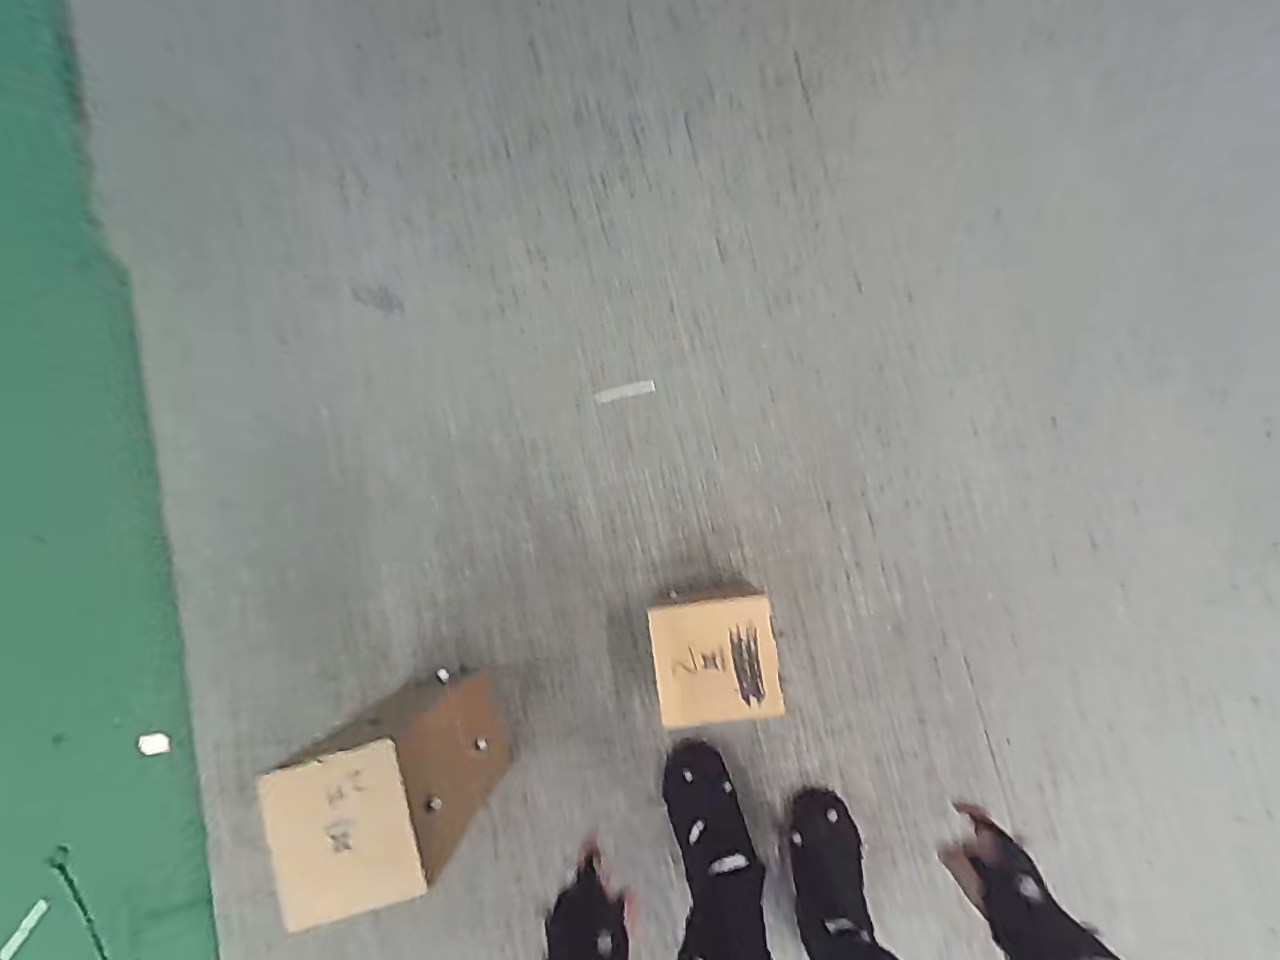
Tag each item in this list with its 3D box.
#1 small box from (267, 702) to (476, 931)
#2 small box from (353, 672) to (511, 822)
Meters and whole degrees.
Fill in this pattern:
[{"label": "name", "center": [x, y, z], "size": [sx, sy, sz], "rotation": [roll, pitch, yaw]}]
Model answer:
[{"label": "small box", "center": [-0.331, 0.417, 0.700], "size": [0.168, 0.176, 0.179], "rotation": [-16, 83, 1]}, {"label": "small box", "center": [-0.320, 0.430, 0.864], "size": [0.168, 0.176, 0.179], "rotation": [-15, 83, 1]}]
